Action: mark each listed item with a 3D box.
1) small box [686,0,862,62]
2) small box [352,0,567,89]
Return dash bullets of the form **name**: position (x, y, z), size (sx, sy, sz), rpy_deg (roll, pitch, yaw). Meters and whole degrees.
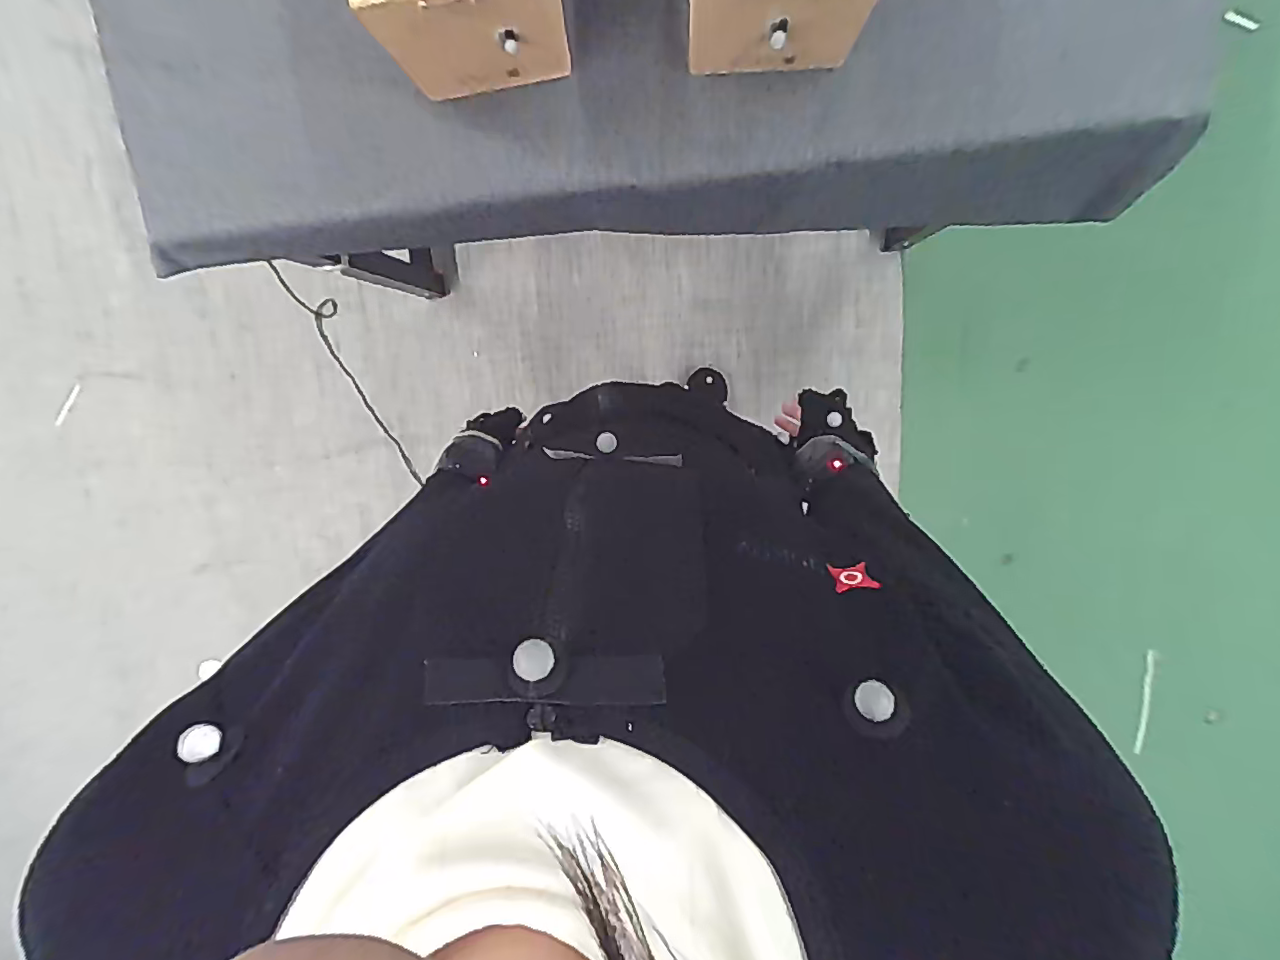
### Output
- **small box**: position (0.127, -0.520, 0.498), size (0.168, 0.176, 0.179), rpy_deg (-1, 102, 4)
- **small box**: position (-0.175, -0.515, 0.521), size (0.168, 0.176, 0.179), rpy_deg (-8, 100, 4)
